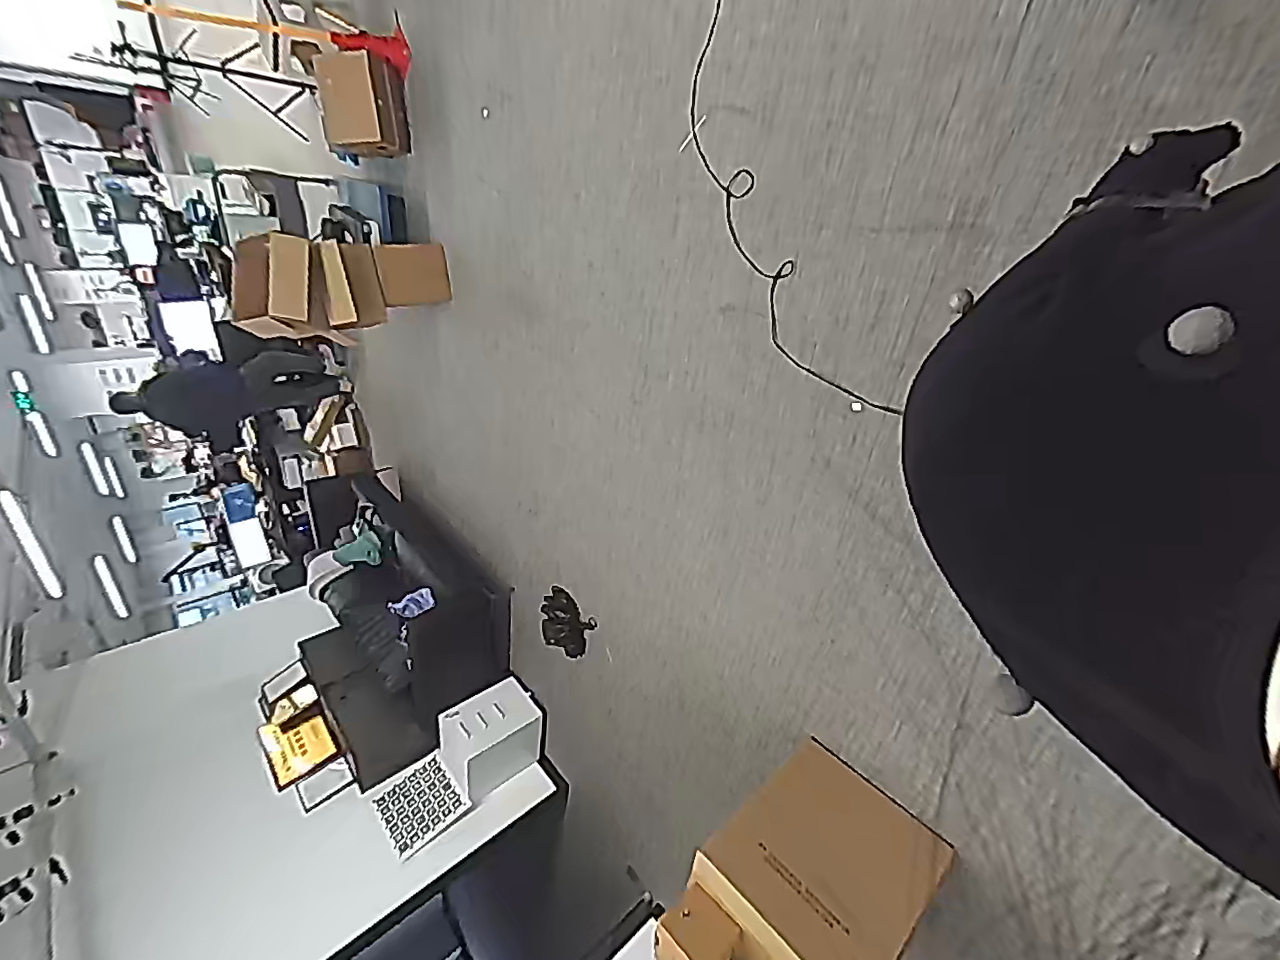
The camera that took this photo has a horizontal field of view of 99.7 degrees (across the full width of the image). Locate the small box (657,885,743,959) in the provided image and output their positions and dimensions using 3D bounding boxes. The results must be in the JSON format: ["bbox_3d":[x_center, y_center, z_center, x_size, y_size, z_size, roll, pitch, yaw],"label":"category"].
[{"bbox_3d":[0.171,1.324,1.559,0.179,0.176,0.168,21,117,43],"label":"small box"}]
